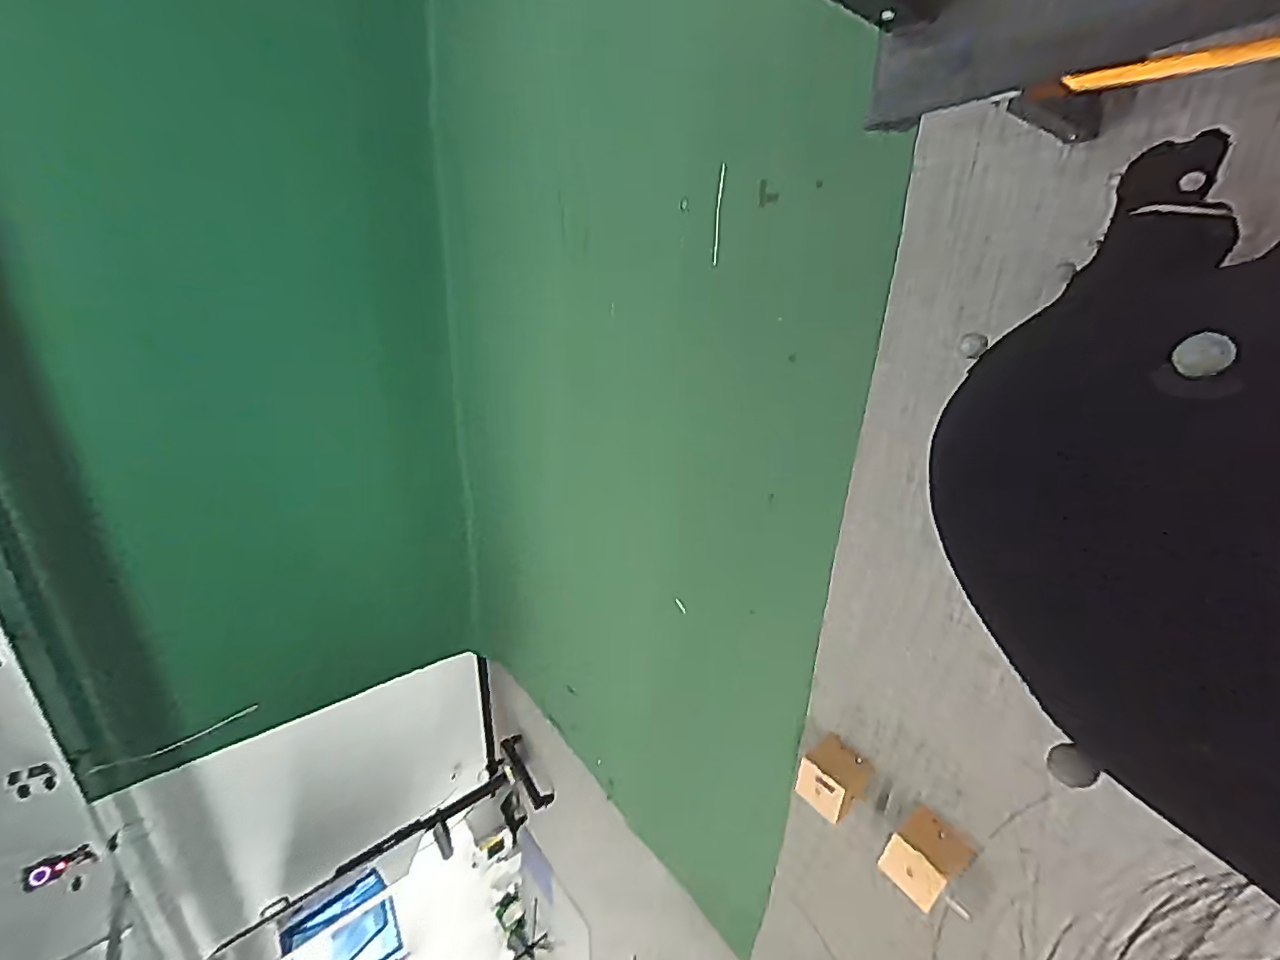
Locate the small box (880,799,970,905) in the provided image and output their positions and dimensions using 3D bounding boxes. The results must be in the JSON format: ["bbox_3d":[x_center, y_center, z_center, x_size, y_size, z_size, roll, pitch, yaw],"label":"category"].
[{"bbox_3d":[0.879,1.138,1.663,0.168,0.176,0.179,33,126,42],"label":"small box"}]

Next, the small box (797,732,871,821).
[{"bbox_3d":[0.677,1.022,1.882,0.168,0.176,0.179,28,124,44],"label":"small box"}]
